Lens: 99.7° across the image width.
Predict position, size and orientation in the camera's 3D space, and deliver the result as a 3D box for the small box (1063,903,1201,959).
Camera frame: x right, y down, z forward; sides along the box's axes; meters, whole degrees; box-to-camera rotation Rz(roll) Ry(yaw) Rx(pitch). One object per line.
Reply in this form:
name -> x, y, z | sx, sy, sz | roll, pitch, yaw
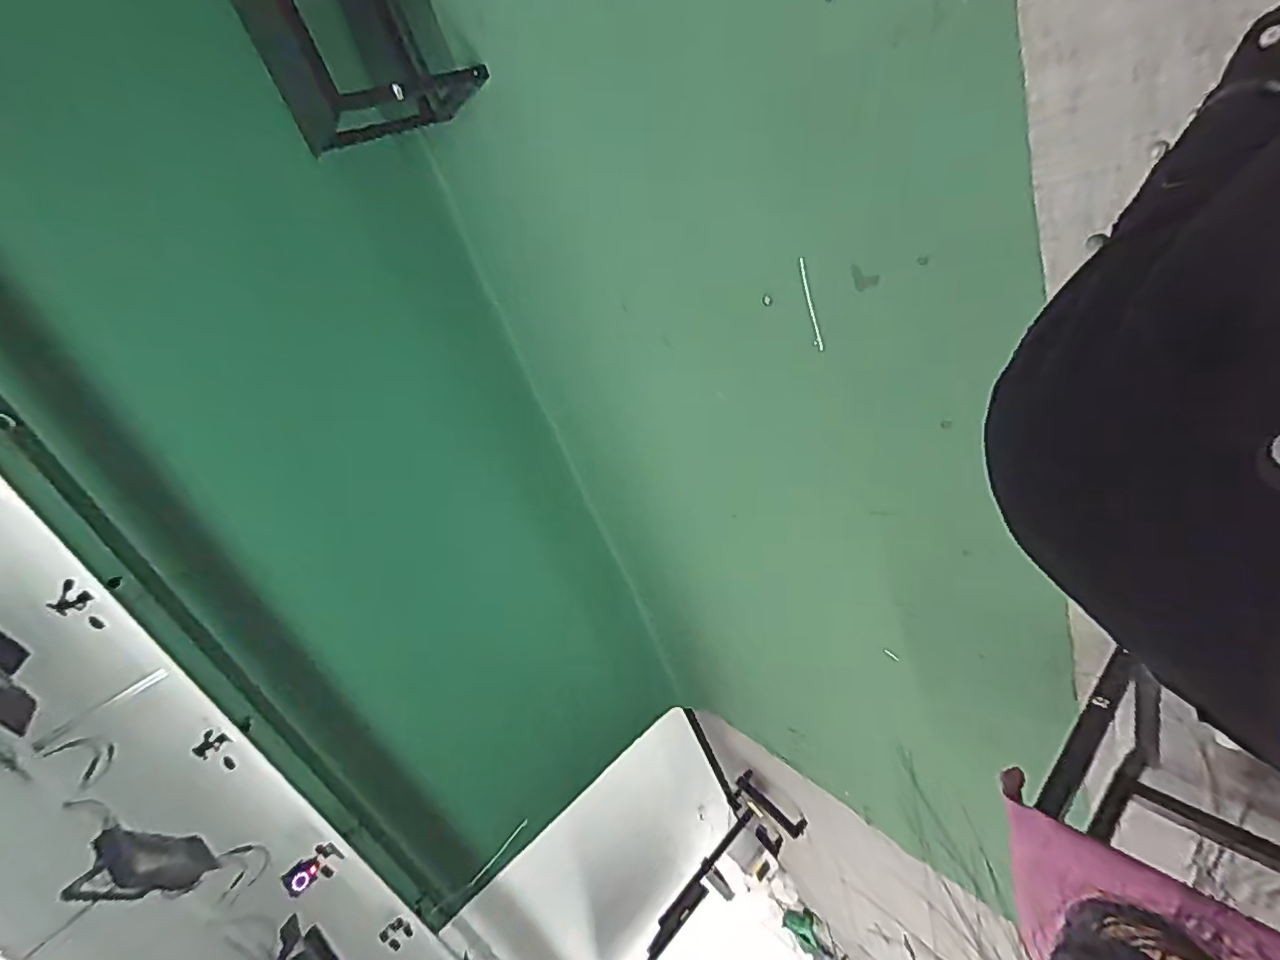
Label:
small box -> 0.975, 0.991, 1.067 | 0.179, 0.176, 0.168 | 14, 134, 54
